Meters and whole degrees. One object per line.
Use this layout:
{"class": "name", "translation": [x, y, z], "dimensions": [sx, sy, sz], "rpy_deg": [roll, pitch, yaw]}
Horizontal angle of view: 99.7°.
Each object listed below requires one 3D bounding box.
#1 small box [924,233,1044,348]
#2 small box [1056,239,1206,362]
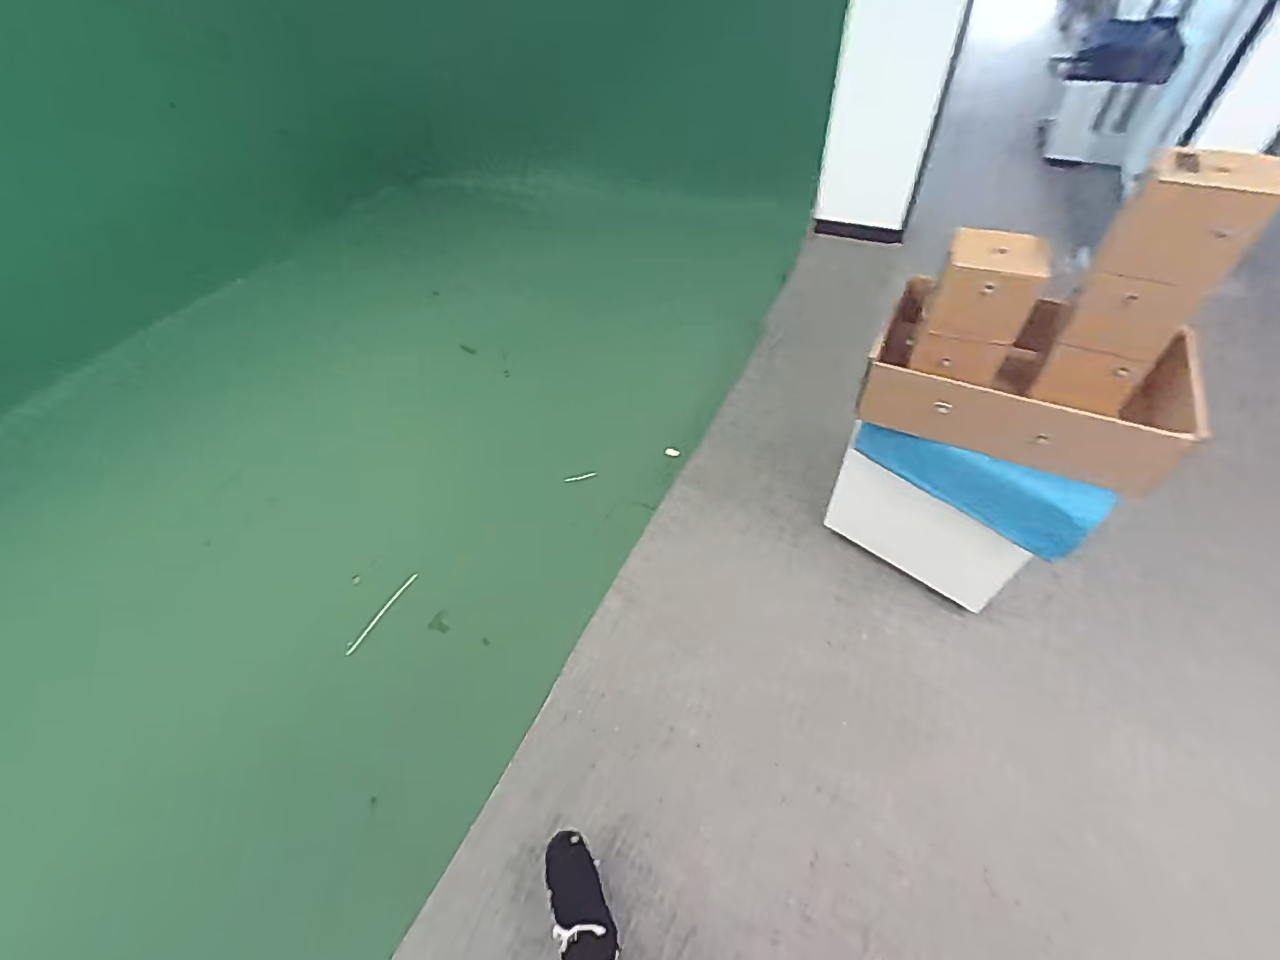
{"class": "small box", "translation": [0.739, -0.410, 1.176], "dimensions": [0.179, 0.176, 0.168], "rpy_deg": [16, 54, 17]}
{"class": "small box", "translation": [1.003, -0.368, 1.117], "dimensions": [0.179, 0.176, 0.168], "rpy_deg": [23, 57, 23]}
